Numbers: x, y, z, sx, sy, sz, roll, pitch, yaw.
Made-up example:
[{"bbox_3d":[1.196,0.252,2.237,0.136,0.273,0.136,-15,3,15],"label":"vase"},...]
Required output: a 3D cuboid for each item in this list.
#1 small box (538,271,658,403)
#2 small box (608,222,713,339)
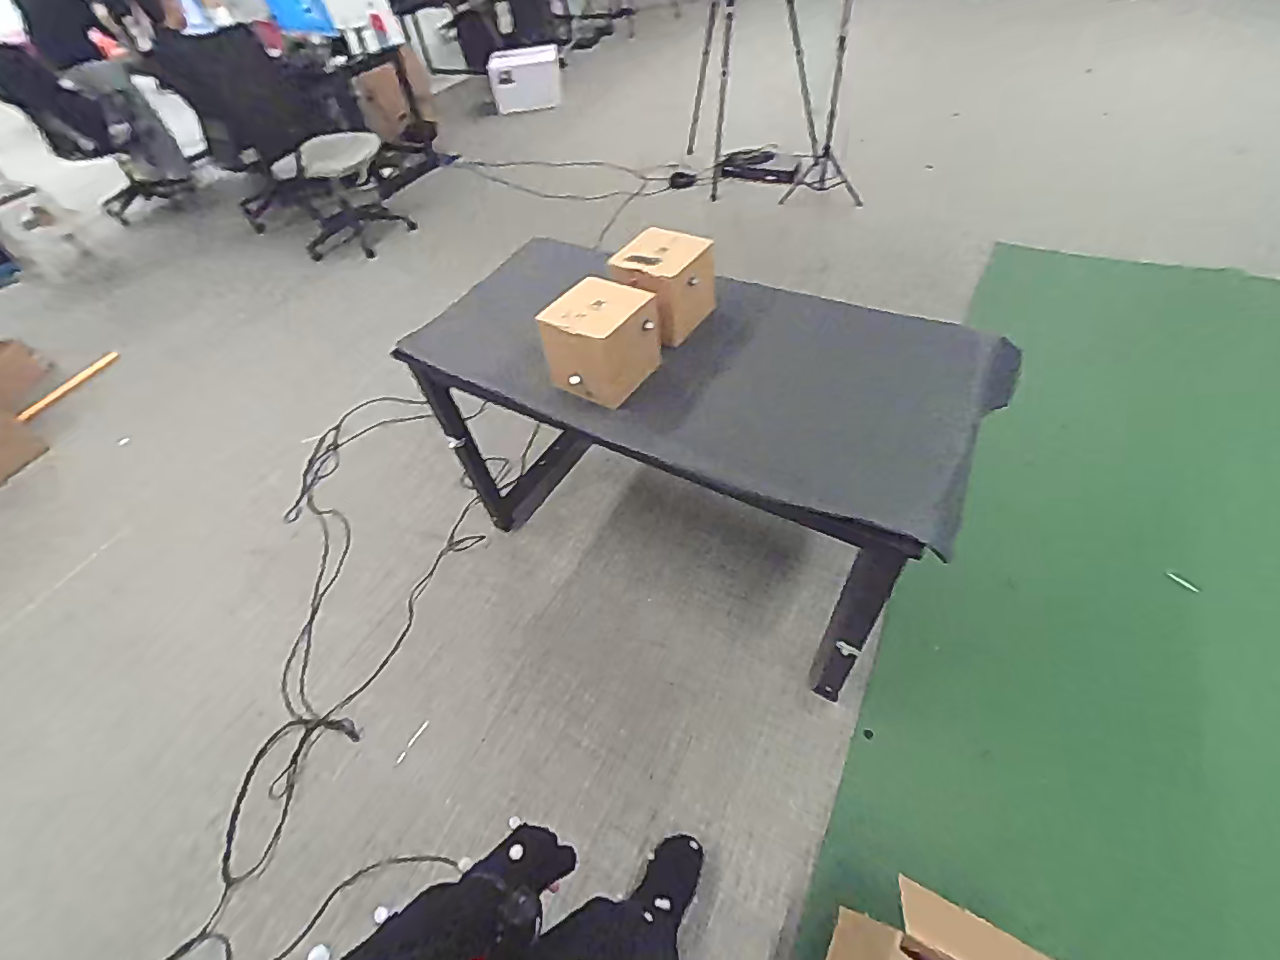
[{"bbox_3d":[-0.076,-0.288,1.091,0.168,0.176,0.179,25,57,25],"label":"small box"},{"bbox_3d":[0.054,-0.441,1.203,0.168,0.176,0.179,25,58,25],"label":"small box"}]
